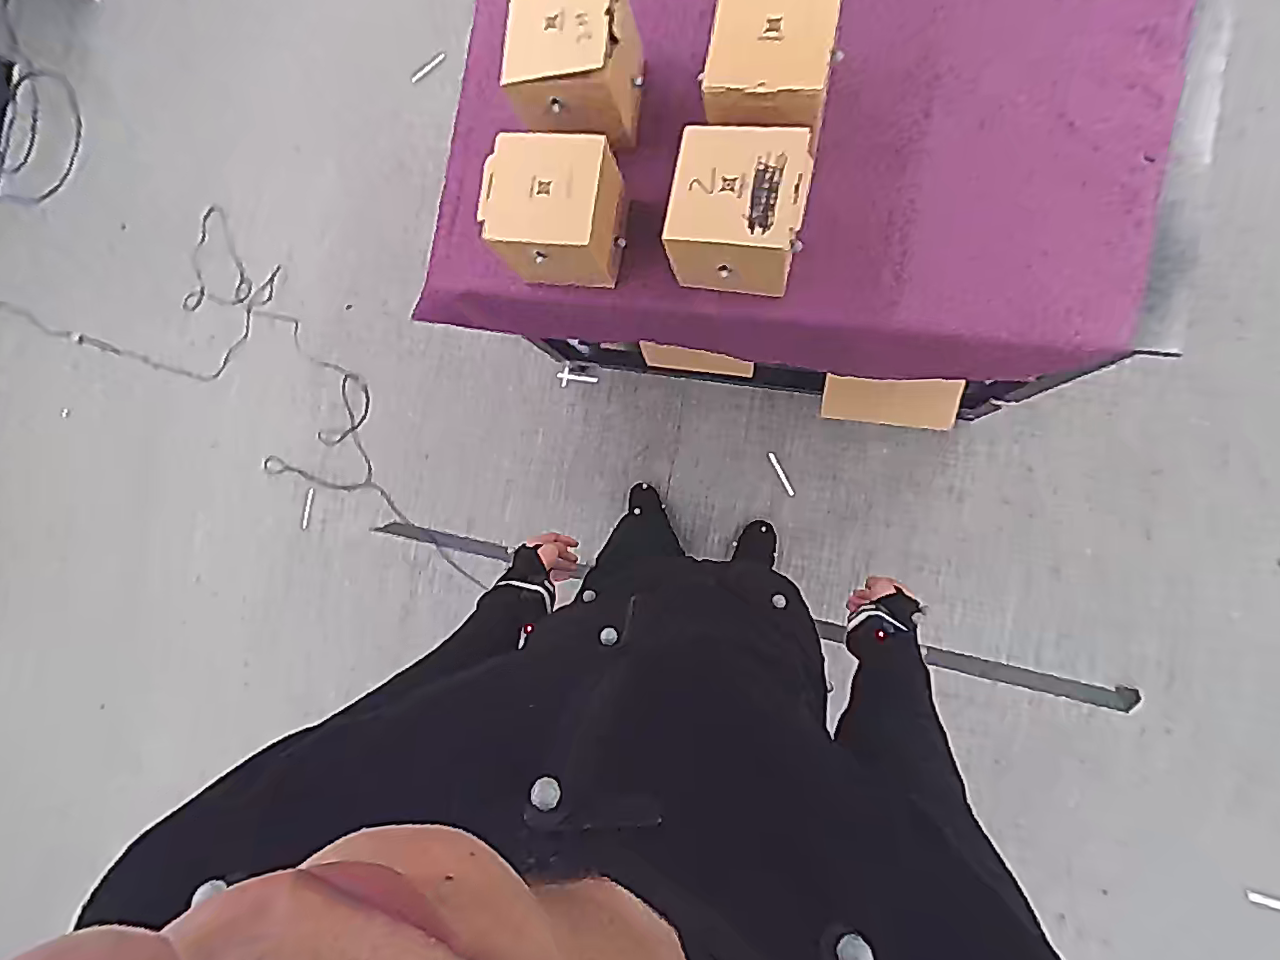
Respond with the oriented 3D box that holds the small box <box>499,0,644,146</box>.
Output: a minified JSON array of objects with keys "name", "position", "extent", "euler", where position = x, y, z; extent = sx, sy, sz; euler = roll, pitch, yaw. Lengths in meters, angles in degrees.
[{"name":"small box","position":[-0.103,-0.672,0.879],"extent":[0.179,0.176,0.168],"euler":[7,90,12]}]

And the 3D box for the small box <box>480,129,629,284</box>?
[{"name":"small box","position":[-0.129,-0.432,0.877],"extent":[0.179,0.176,0.168],"euler":[9,90,11]}]
